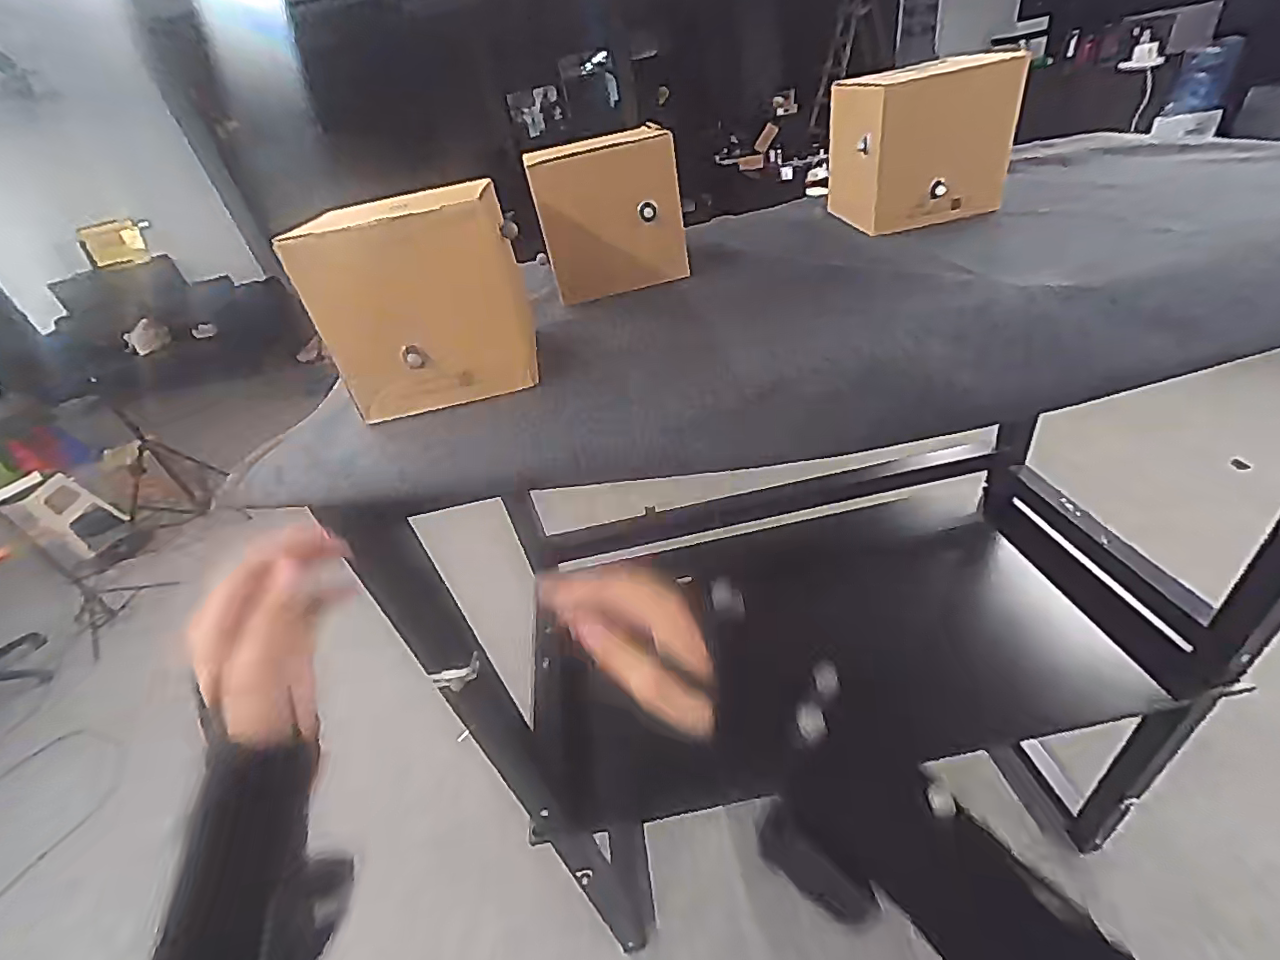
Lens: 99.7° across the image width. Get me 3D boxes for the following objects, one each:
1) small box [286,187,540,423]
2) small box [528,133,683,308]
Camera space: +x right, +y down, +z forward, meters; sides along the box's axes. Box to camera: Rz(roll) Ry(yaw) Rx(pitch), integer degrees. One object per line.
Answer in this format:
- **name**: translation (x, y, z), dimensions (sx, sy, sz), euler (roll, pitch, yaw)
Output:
- **small box**: translation (-0.201, -0.178, 0.540), dimensions (0.168, 0.176, 0.179), euler (-13, 35, -3)
- **small box**: translation (-0.044, -0.351, 0.729), dimensions (0.179, 0.176, 0.168), euler (-14, 36, -3)
